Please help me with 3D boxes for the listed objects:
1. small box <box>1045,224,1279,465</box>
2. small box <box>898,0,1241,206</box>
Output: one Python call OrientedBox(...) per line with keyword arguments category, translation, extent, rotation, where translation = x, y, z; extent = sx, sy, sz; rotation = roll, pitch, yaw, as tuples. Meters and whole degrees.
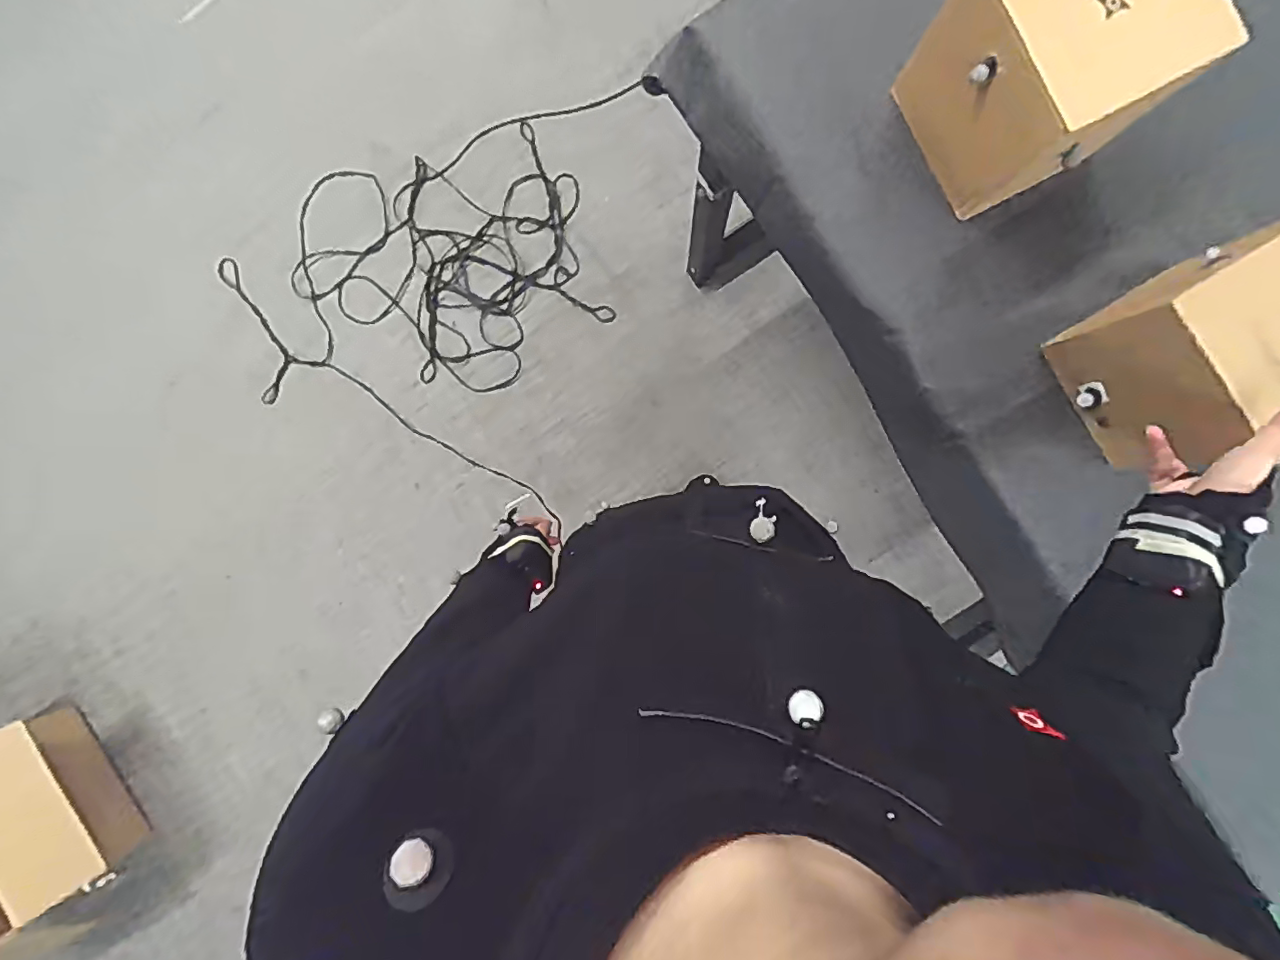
OrientedBox(category="small box", translation=(0.566, -0.128, 0.534), extent=(0.179, 0.176, 0.168), rotation=(-32, 88, 1))
OrientedBox(category="small box", translation=(0.398, -0.407, 0.537), extent=(0.168, 0.176, 0.179), rotation=(-27, 89, 1))
